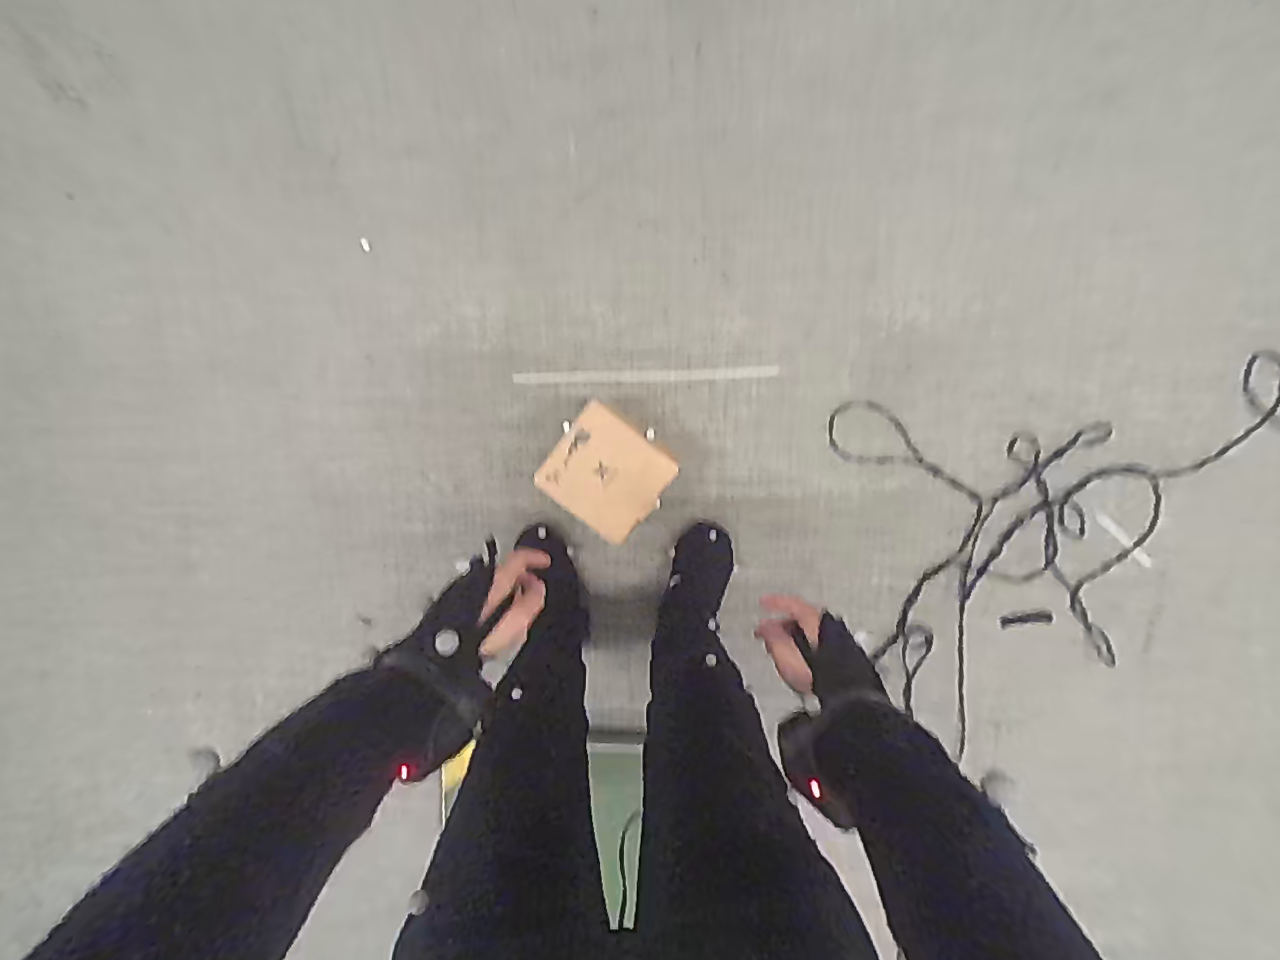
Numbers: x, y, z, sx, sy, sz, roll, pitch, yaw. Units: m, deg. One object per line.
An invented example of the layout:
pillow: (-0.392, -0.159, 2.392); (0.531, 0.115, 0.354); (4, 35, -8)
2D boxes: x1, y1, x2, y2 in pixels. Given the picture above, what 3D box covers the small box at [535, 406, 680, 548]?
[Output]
small box: (-0.047, -0.016, 0.932); (0.179, 0.176, 0.168); (38, 98, -2)
